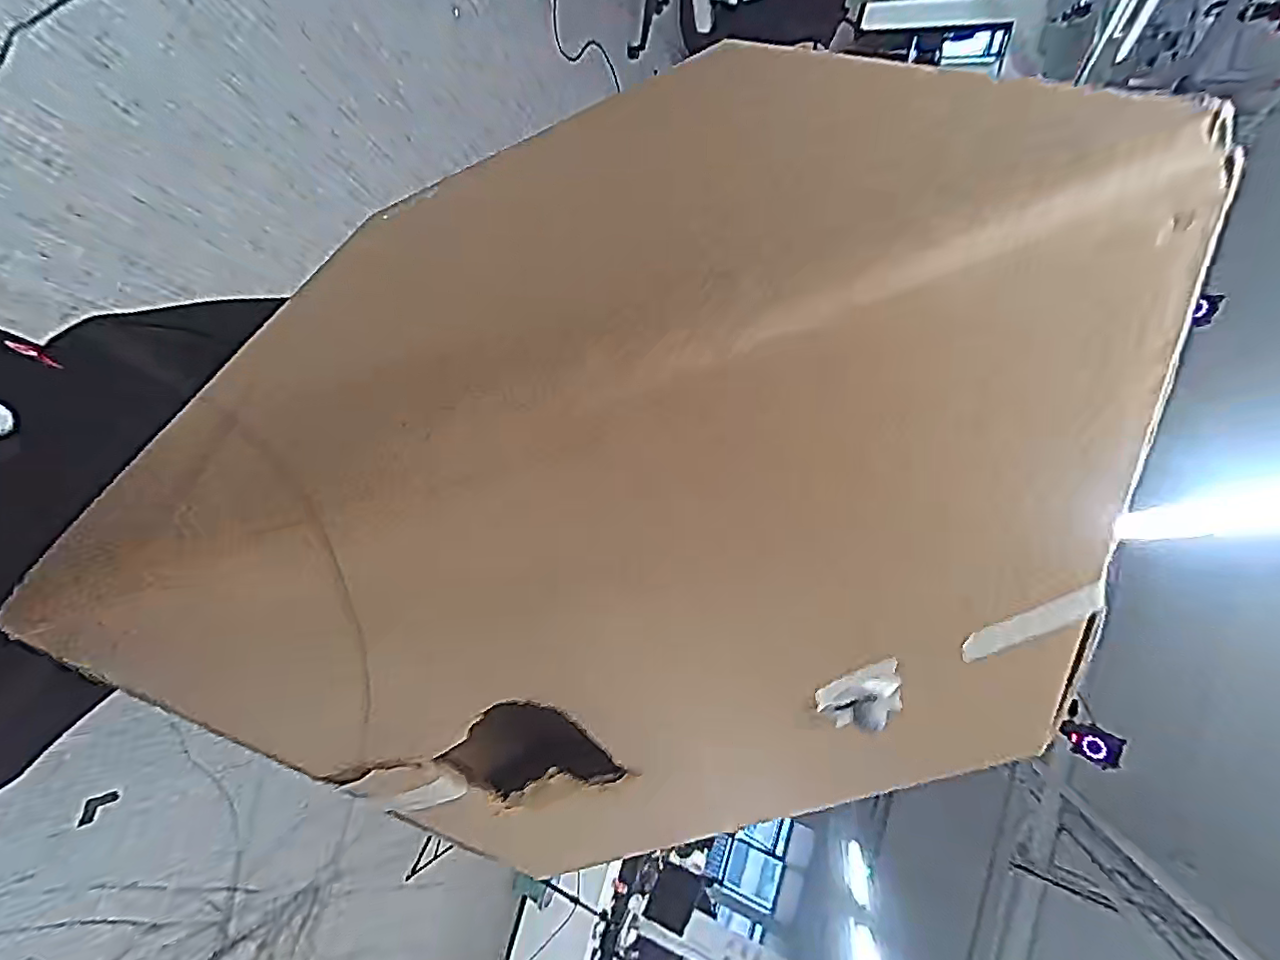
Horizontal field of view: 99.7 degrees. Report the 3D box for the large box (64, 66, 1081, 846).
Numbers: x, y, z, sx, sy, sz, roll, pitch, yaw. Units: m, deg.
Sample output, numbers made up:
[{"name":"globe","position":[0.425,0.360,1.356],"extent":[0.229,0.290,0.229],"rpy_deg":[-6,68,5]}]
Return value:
[{"name":"large box","position":[-0.001,-0.038,0.380],"extent":[0.408,0.320,0.320],"rpy_deg":[-98,166,-49]}]
